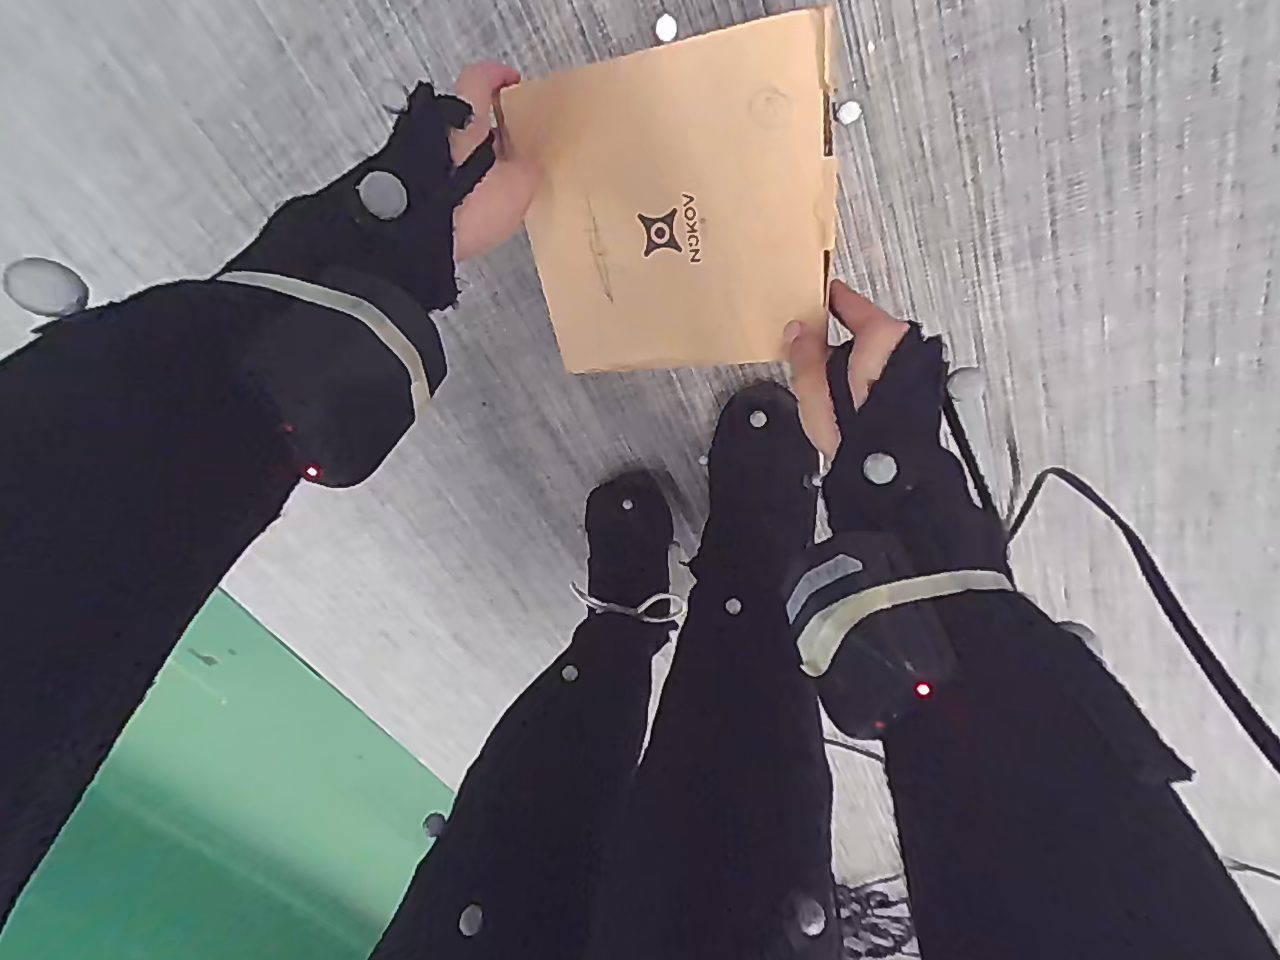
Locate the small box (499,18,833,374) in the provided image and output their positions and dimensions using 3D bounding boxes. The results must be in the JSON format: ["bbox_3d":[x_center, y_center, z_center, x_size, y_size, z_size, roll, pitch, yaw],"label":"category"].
[{"bbox_3d":[0.039,-0.187,0.373,0.179,0.176,0.168,0,124,20],"label":"small box"}]
